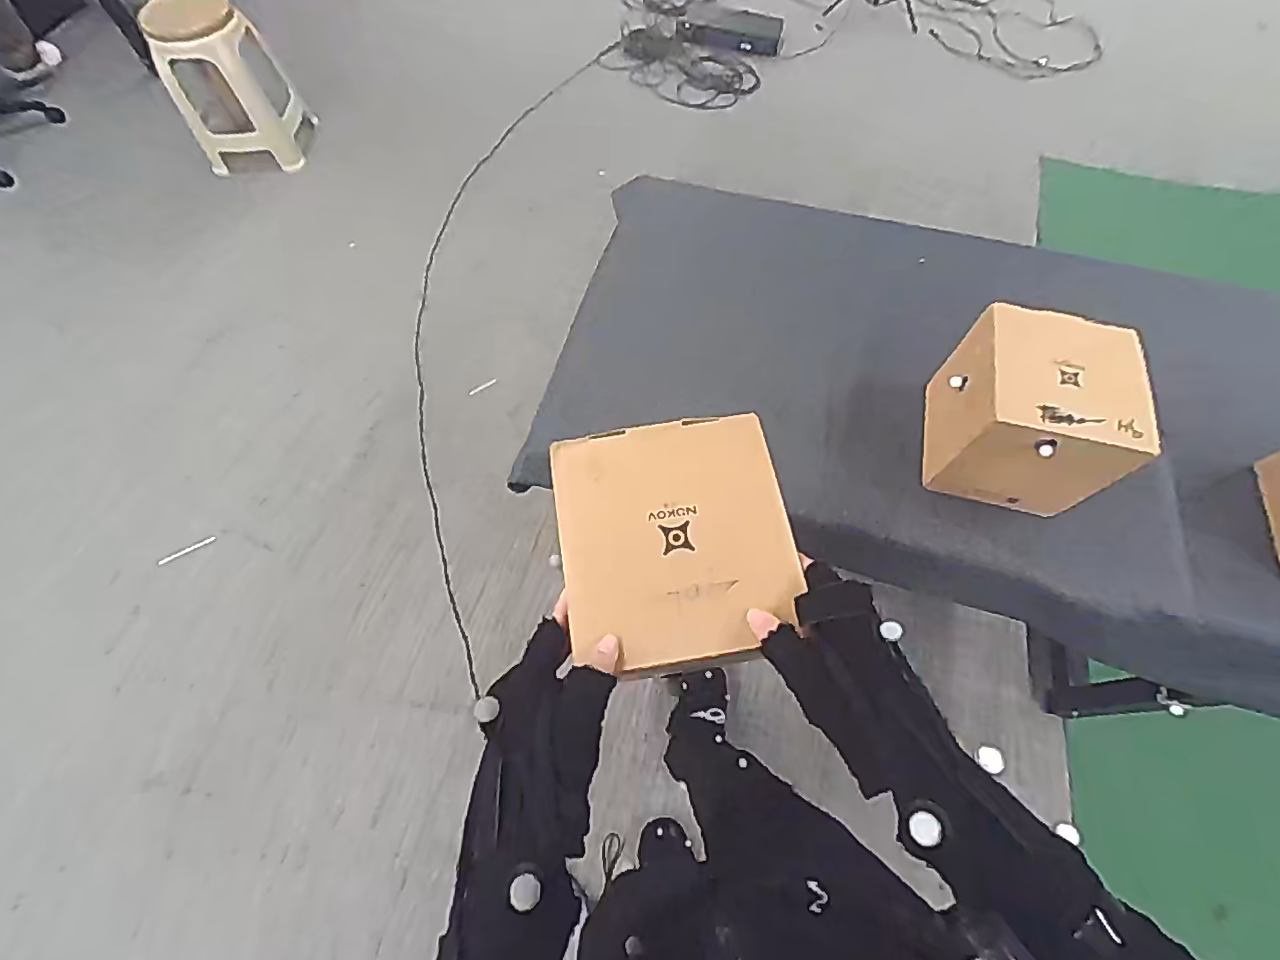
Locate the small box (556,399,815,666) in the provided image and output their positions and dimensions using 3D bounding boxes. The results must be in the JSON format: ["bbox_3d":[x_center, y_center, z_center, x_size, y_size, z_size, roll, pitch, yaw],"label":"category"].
[{"bbox_3d":[0.026,0.055,0.469,0.168,0.176,0.179,-9,70,-3],"label":"small box"}]

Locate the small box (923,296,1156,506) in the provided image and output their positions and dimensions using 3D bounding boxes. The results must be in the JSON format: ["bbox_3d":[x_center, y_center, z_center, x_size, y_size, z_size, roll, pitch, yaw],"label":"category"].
[{"bbox_3d":[0.474,-0.092,0.674,0.168,0.176,0.179,13,64,7],"label":"small box"}]

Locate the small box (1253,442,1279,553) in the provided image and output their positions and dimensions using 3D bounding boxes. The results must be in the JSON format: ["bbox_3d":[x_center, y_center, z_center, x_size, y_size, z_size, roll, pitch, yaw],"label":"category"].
[{"bbox_3d":[0.881,0.022,0.617,0.168,0.176,0.179,15,63,8],"label":"small box"}]
